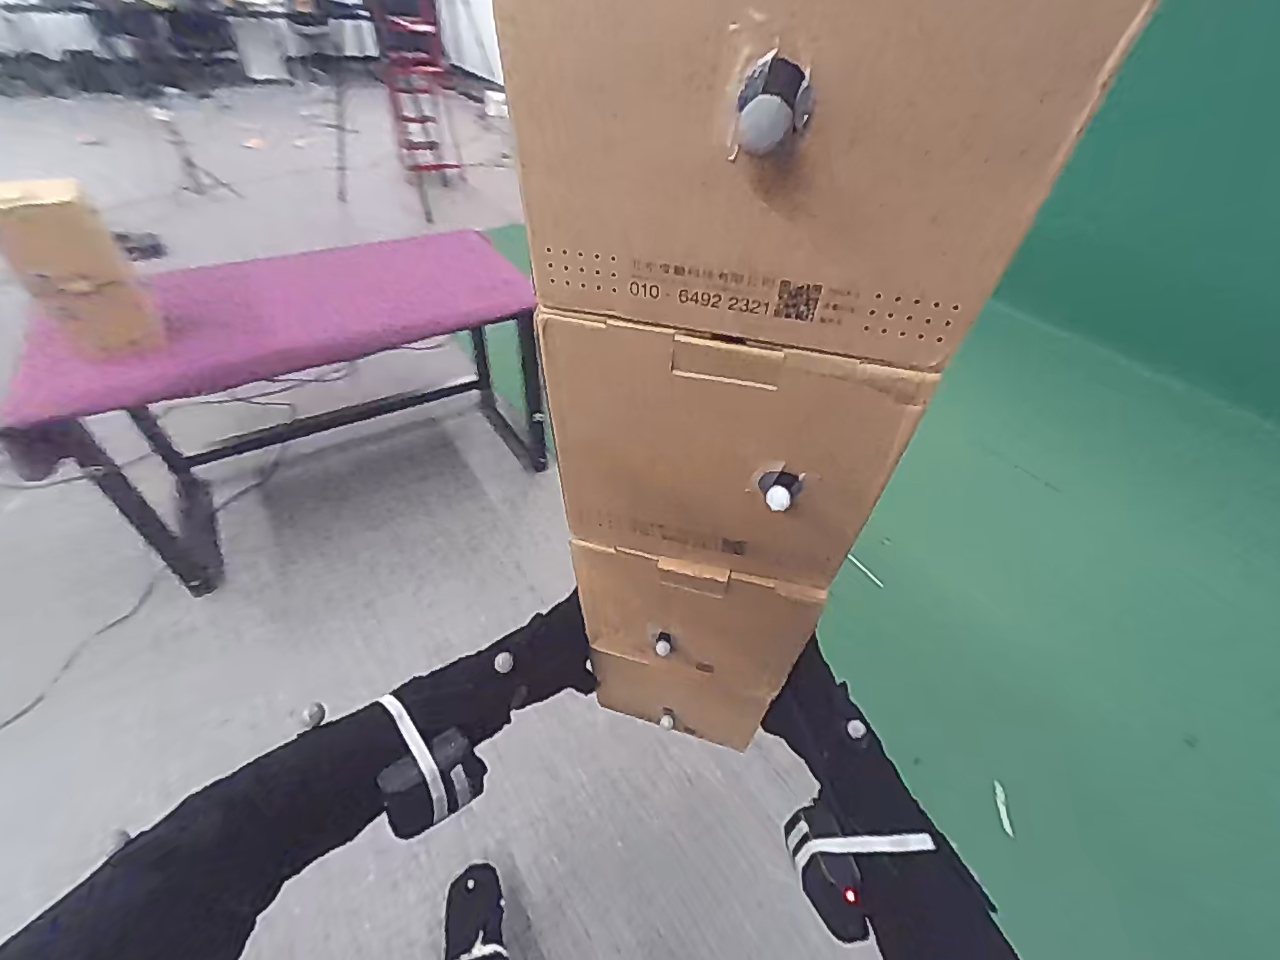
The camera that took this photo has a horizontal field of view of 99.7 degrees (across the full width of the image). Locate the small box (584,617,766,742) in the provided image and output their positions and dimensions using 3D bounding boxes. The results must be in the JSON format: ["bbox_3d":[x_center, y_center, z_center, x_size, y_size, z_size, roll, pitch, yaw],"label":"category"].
[{"bbox_3d":[0.051,0.146,0.573,0.168,0.176,0.179,13,51,11],"label":"small box"}]

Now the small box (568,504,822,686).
[{"bbox_3d":[0.051,0.042,0.449,0.168,0.176,0.179,12,52,10],"label":"small box"}]

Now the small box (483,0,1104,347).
[{"bbox_3d":[0.052,-0.173,0.202,0.168,0.176,0.179,12,53,8],"label":"small box"}]

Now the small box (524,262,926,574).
[{"bbox_3d":[0.050,-0.067,0.327,0.168,0.176,0.179,11,51,8],"label":"small box"}]

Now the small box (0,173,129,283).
[{"bbox_3d":[-1.235,-0.532,1.151,0.168,0.176,0.179,-20,50,-26],"label":"small box"}]
